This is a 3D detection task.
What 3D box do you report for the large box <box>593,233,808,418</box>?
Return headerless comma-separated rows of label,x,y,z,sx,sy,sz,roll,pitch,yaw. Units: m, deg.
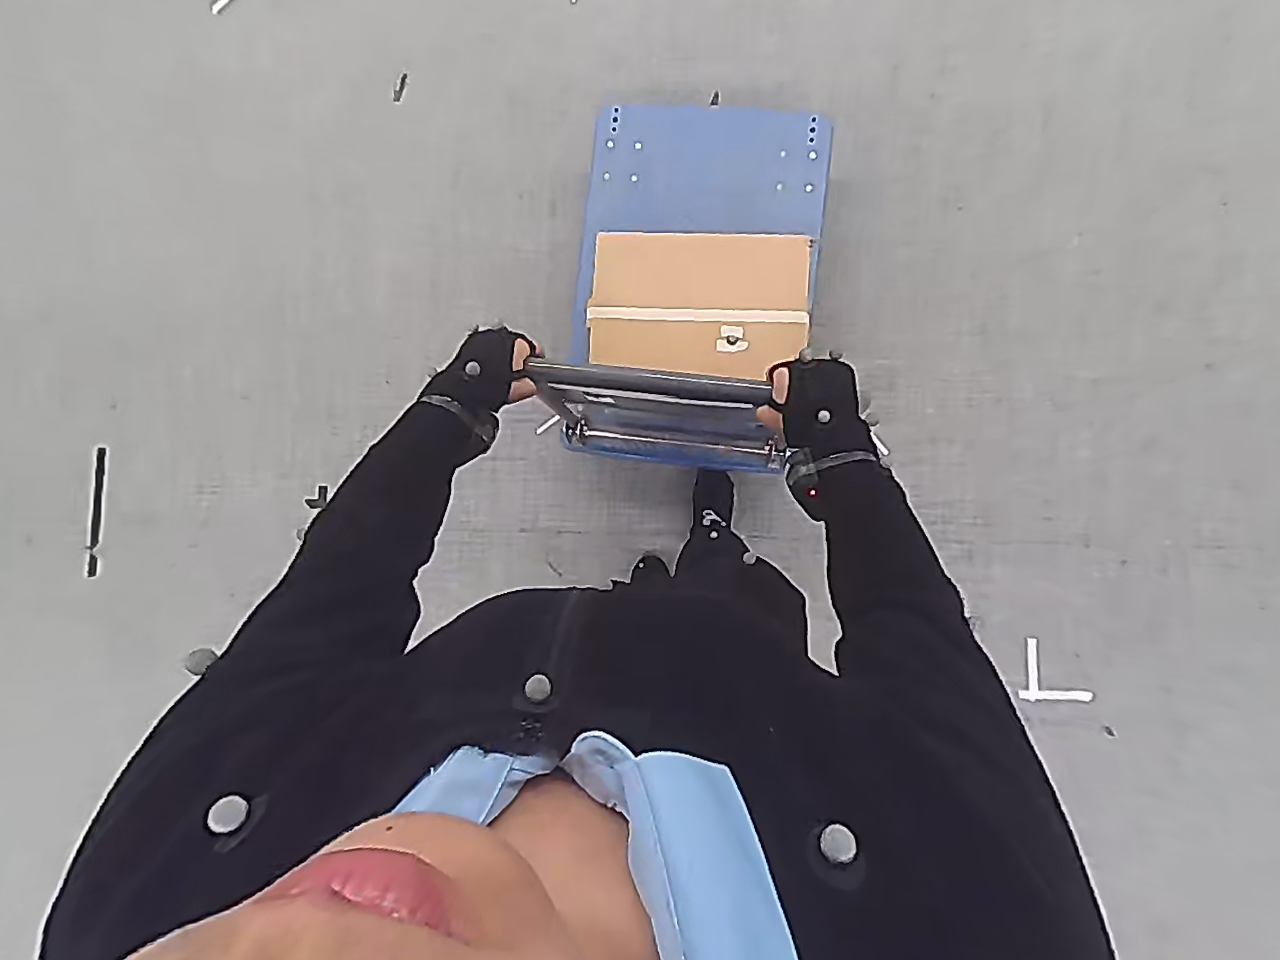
large box,0.122,-0.313,1.175,0.408,0.320,0.320,3,90,4
